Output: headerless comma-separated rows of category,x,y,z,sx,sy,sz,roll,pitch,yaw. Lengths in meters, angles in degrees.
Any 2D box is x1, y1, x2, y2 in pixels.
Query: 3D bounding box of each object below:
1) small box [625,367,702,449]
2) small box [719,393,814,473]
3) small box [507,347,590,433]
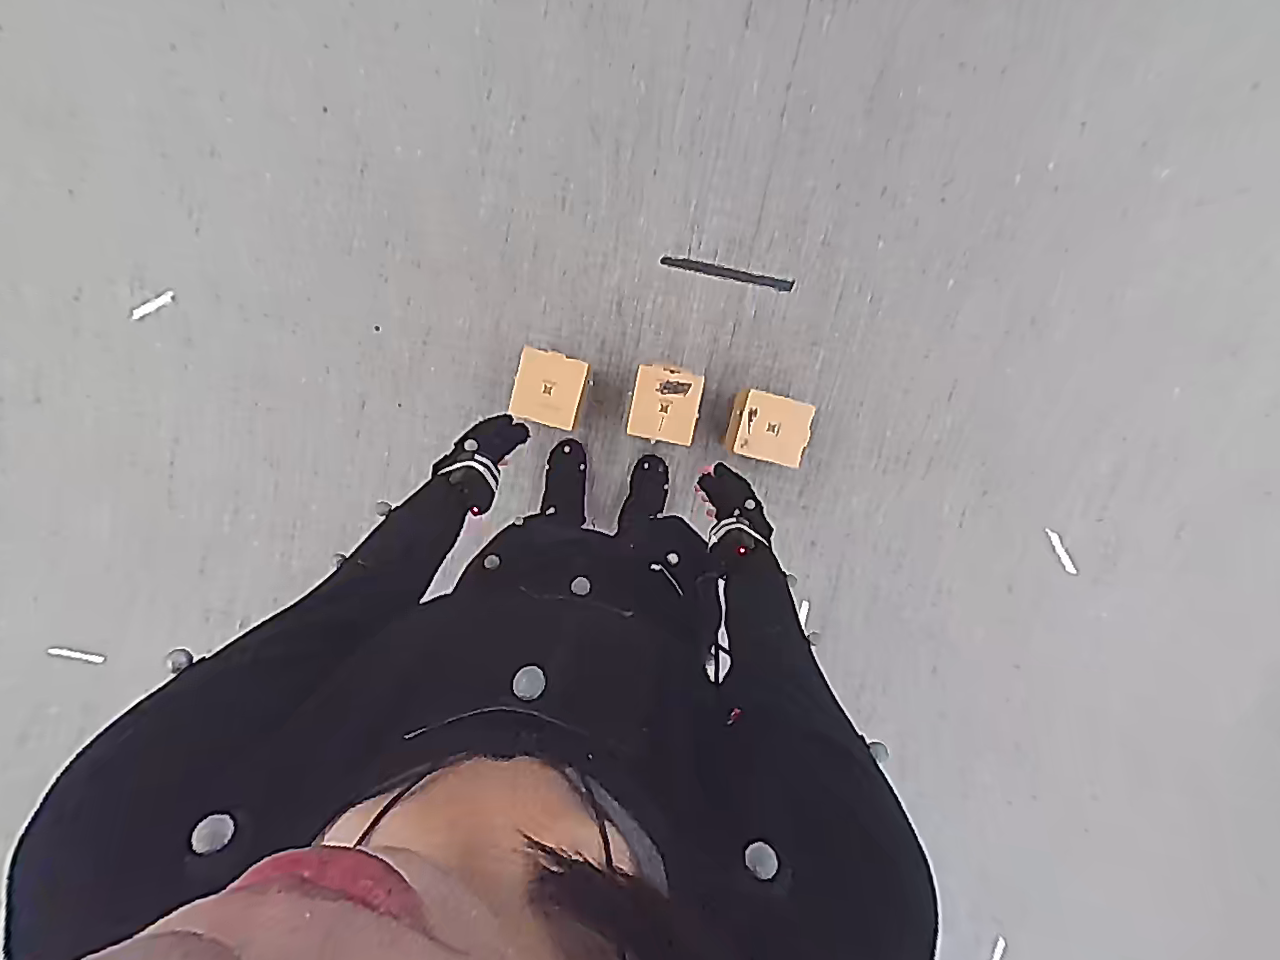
small box,0.055,-0.186,1.409,0.168,0.176,0.179,11,97,-2
small box,0.325,-0.128,1.425,0.179,0.176,0.168,15,96,-4
small box,-0.230,-0.228,1.401,0.168,0.176,0.179,15,97,-2
